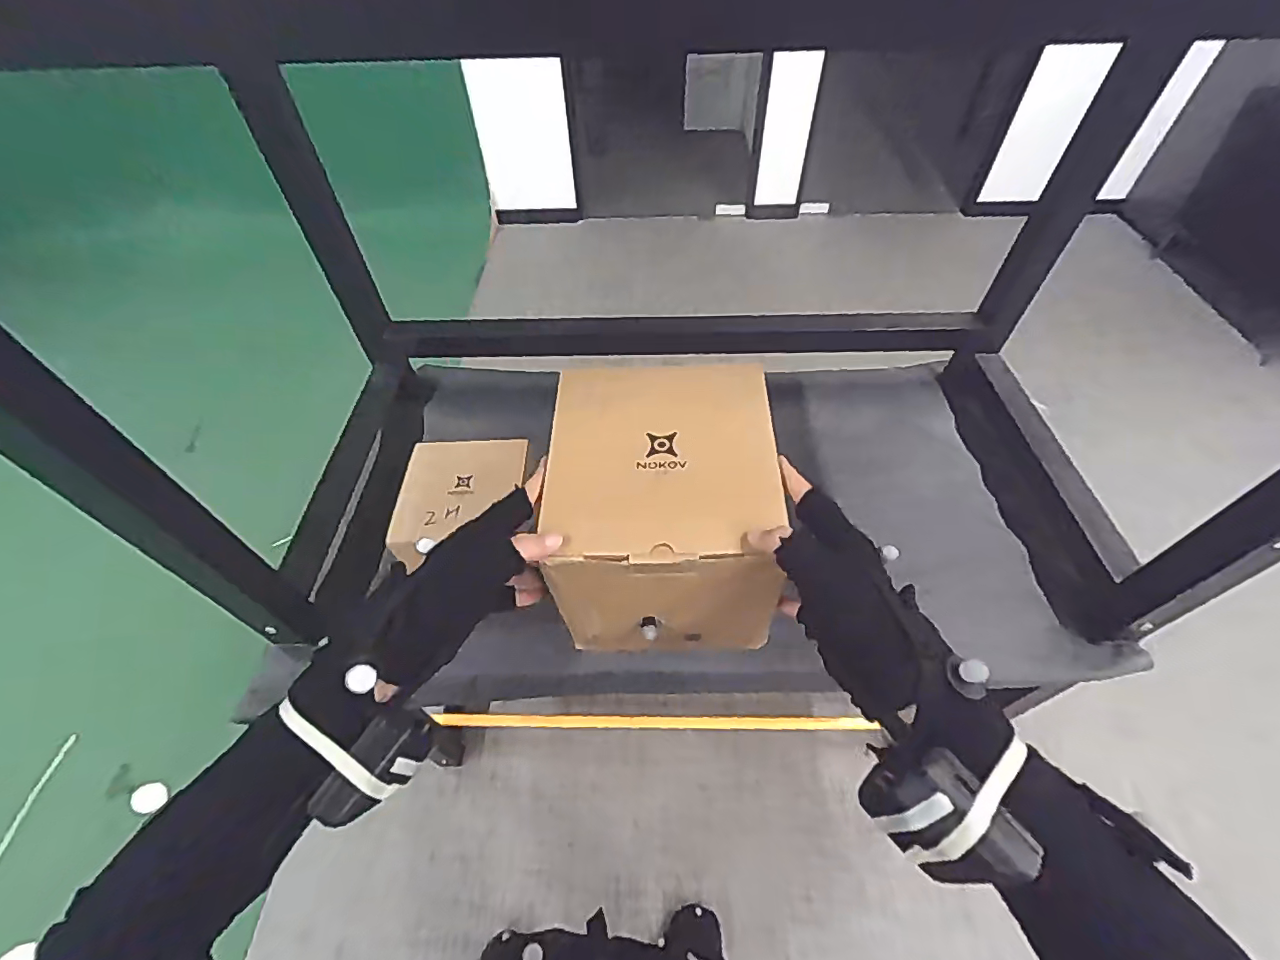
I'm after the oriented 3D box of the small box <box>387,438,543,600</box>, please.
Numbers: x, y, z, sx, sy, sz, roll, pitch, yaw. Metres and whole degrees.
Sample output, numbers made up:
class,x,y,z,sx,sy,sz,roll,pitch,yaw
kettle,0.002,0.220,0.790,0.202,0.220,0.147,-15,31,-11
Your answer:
class,x,y,z,sx,sy,sz,roll,pitch,yaw
small box,-0.241,0.059,0.798,0.168,0.176,0.179,-2,51,0
